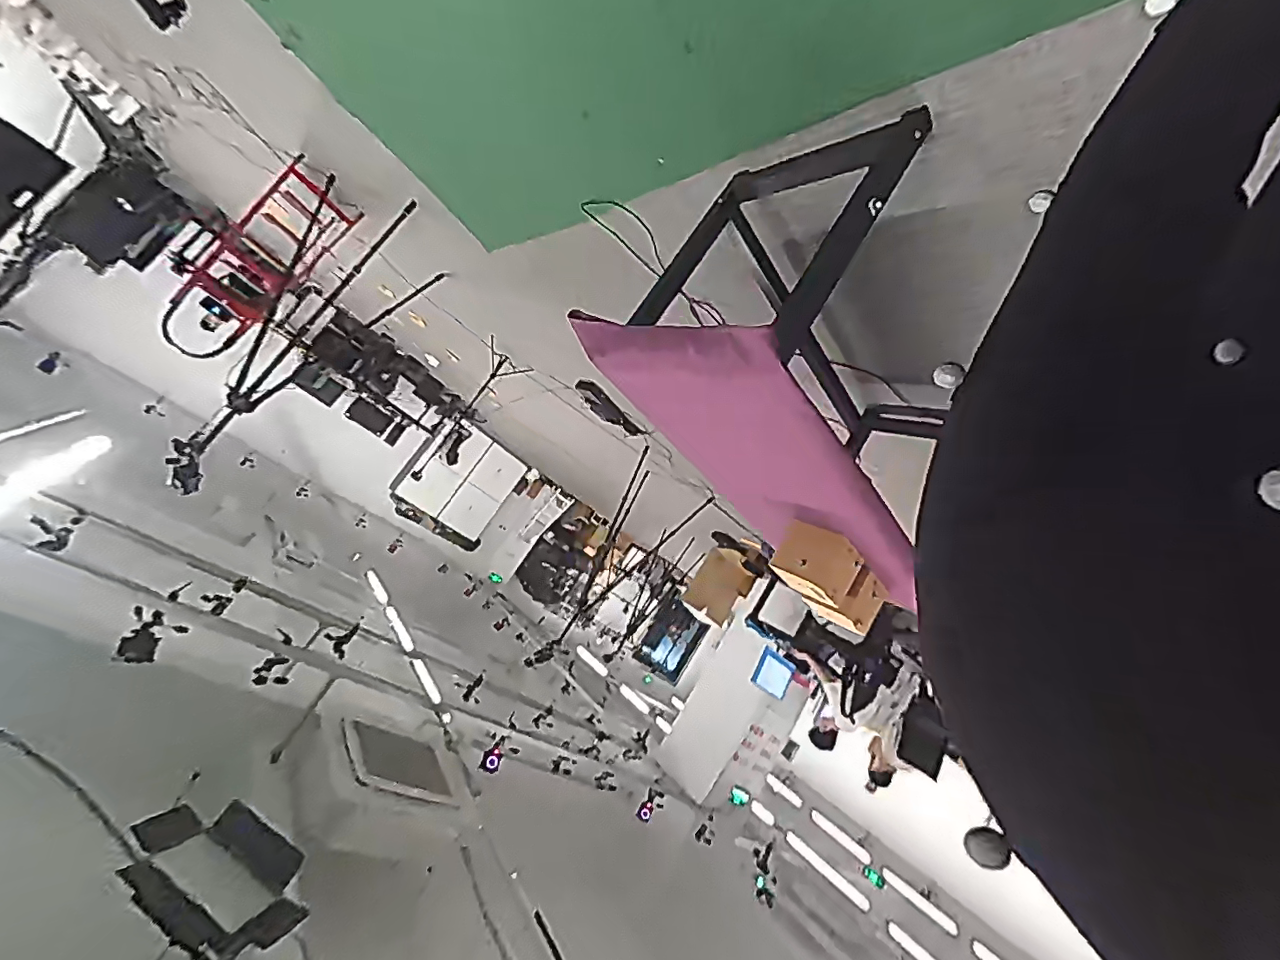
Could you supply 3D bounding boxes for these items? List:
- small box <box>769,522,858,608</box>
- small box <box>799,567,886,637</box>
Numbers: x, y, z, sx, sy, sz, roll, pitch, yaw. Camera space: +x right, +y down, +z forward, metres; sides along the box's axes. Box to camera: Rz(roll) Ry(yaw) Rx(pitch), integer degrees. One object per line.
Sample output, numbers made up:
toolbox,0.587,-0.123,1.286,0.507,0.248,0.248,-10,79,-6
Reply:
small box,0.523,0.246,1.605,0.179,0.176,0.168,20,162,50
small box,0.652,0.367,1.736,0.168,0.176,0.179,42,166,-36
